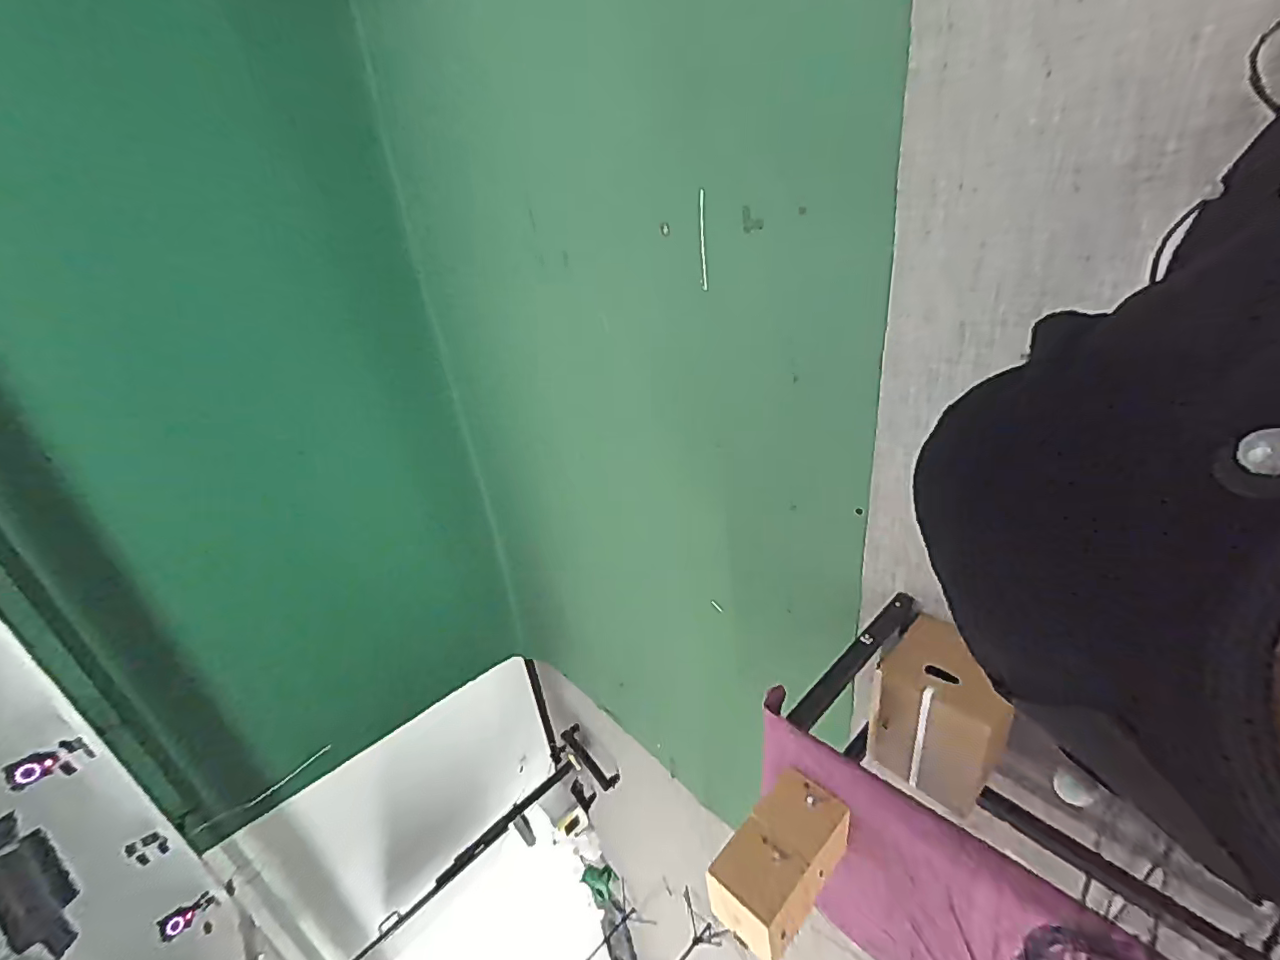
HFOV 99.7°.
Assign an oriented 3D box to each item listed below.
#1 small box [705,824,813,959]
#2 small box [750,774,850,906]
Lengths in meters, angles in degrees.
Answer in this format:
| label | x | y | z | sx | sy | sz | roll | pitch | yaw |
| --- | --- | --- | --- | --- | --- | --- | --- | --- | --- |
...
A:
| label | x | y | z | sx | sy | sz | roll | pitch | yaw |
| --- | --- | --- | --- | --- | --- | --- | --- | --- | --- |
| small box | 0.265 | 0.918 | 1.187 | 0.168 | 0.176 | 0.179 | 18 | 126 | 44 |
| small box | 0.379 | 0.853 | 1.283 | 0.168 | 0.176 | 0.179 | 21 | 128 | 43 |
